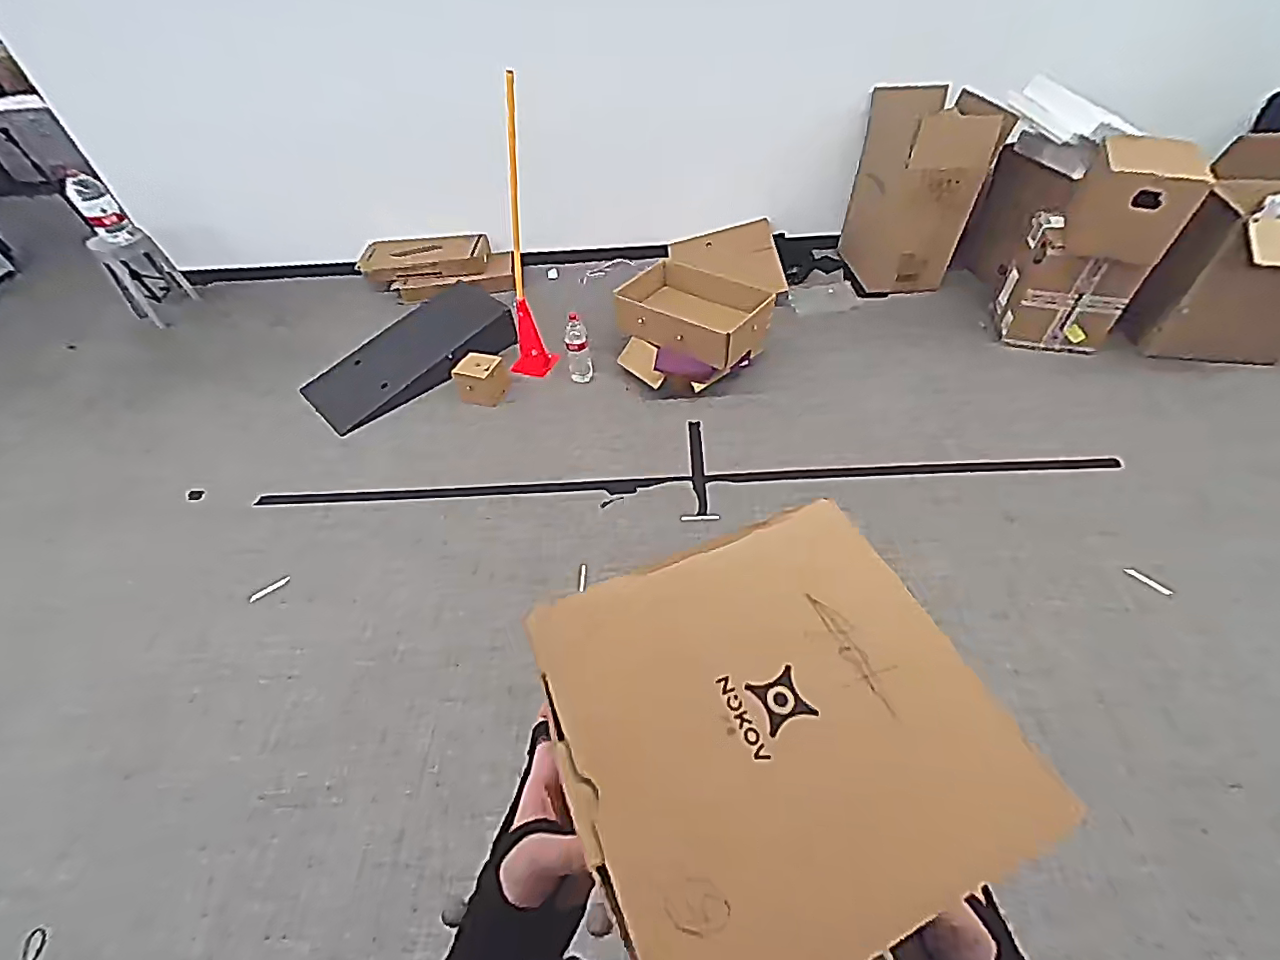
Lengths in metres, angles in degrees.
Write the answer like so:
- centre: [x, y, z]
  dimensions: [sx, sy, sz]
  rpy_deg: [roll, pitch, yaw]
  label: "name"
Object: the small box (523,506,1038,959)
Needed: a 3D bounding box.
- centre: [0.053, 0.149, 0.305]
  dimensions: [0.179, 0.176, 0.168]
  rpy_deg: [-20, 55, -16]
  label: "small box"
